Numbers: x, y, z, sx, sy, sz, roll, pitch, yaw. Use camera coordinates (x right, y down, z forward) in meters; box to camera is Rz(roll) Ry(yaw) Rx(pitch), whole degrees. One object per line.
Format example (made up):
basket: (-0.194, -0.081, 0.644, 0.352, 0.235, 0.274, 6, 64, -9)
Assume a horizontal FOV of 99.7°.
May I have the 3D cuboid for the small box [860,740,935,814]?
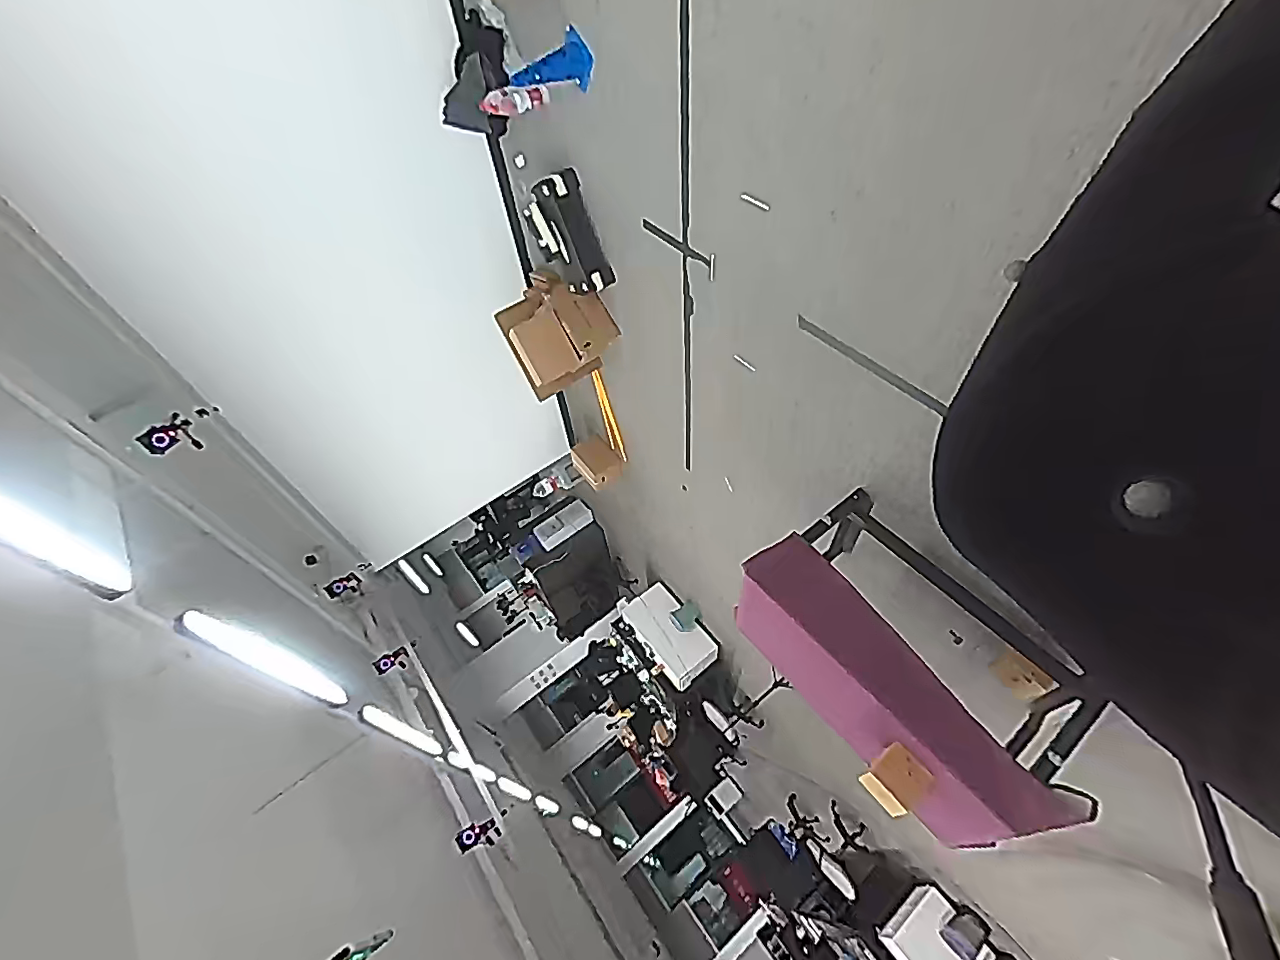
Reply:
small box: (0.958, 1.104, 2.012, 0.168, 0.176, 0.179, 45, 158, 30)
